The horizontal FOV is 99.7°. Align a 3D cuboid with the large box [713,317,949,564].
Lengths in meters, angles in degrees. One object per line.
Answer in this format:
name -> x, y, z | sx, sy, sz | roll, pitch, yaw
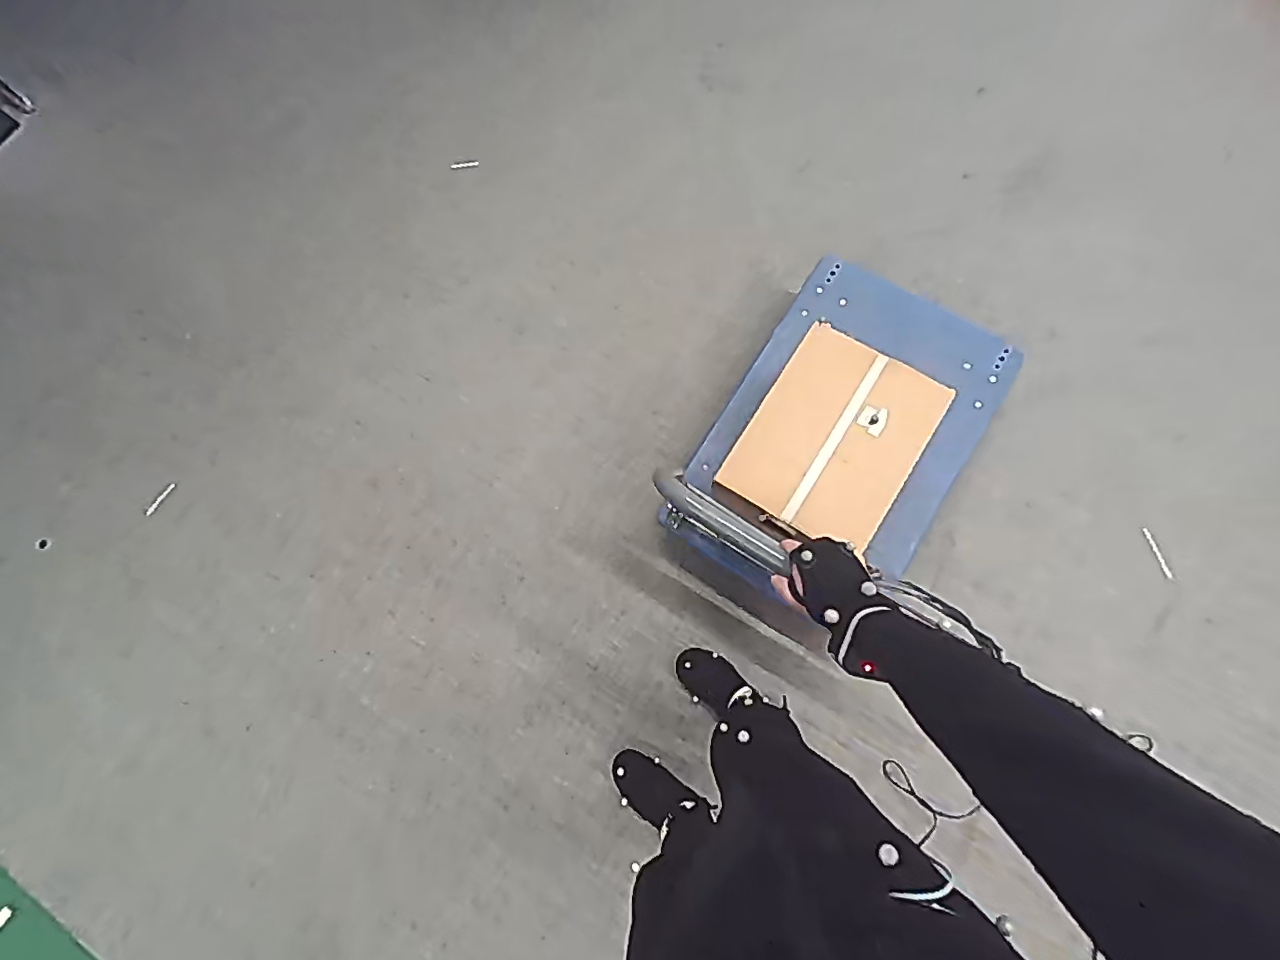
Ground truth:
large box -> 0.396, -0.067, 1.212 | 0.320, 0.320, 0.408 | 32, 82, 10
